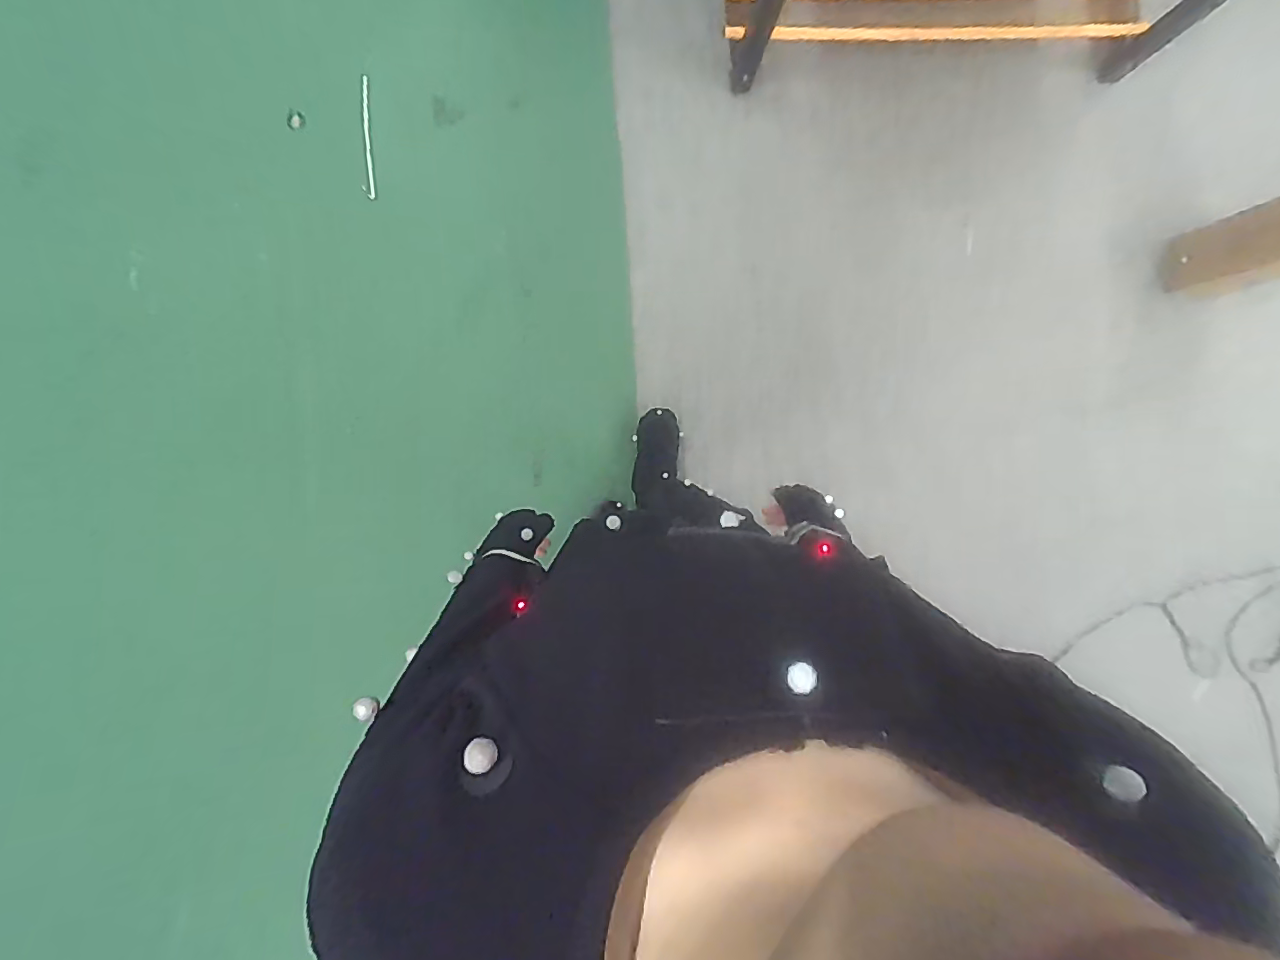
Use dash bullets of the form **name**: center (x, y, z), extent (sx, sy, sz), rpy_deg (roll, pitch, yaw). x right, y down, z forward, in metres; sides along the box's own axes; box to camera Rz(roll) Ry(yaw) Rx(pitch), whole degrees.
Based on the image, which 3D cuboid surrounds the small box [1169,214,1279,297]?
- **small box**: center (1.674, -0.631, 1.538), extent (0.179, 0.176, 0.168), rpy_deg (1, 90, -4)
